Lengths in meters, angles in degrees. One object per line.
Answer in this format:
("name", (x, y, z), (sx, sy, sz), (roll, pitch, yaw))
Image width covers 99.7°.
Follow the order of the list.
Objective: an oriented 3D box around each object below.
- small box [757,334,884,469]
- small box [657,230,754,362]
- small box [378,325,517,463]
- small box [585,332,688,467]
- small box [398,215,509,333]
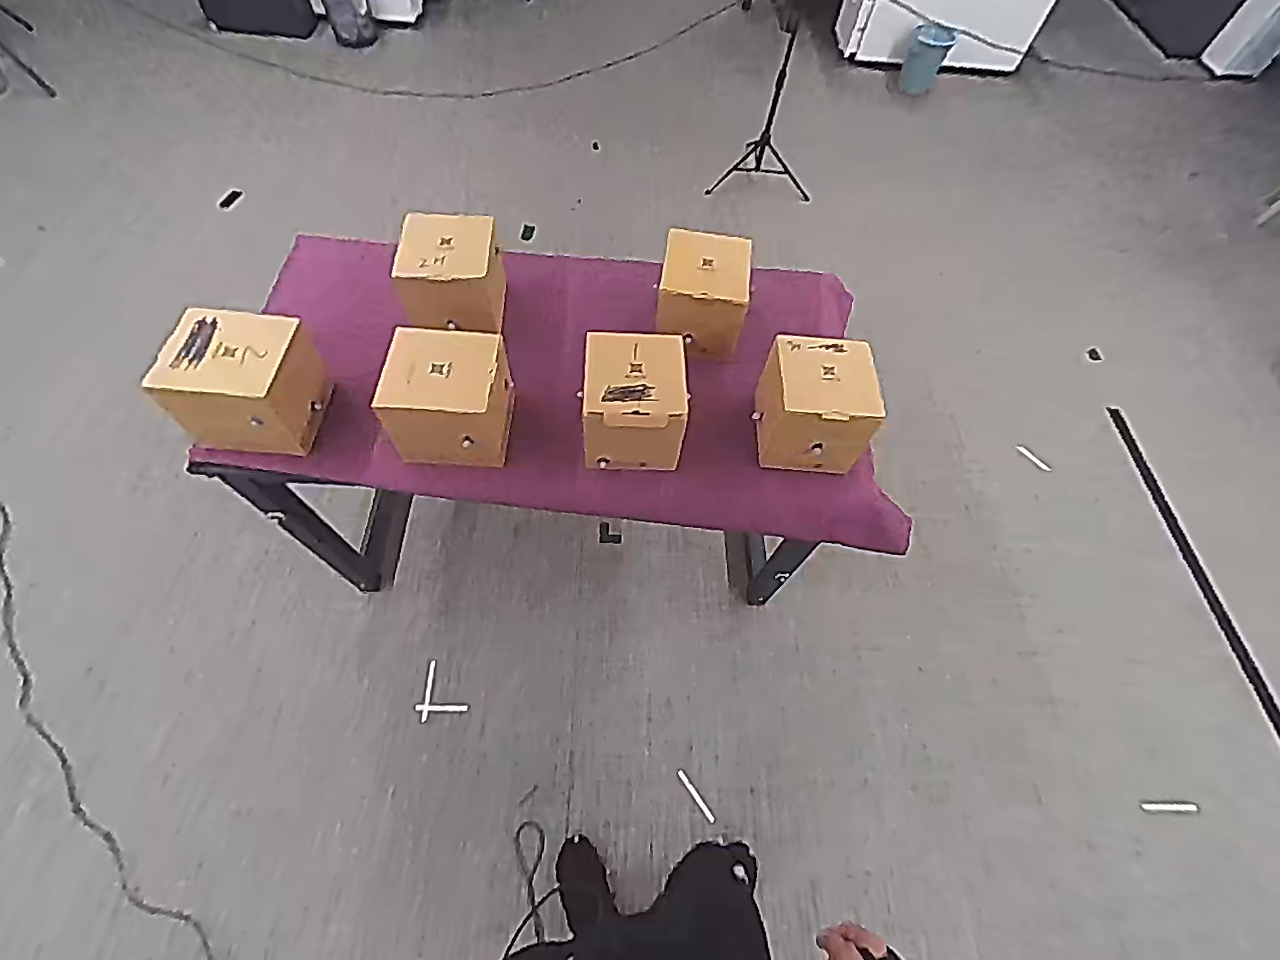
("small box", (0.313, -0.135, 0.976), (0.168, 0.176, 0.179), (5, 59, -1))
("small box", (0.128, -0.371, 1.100), (0.168, 0.176, 0.179), (8, 62, 1))
("small box", (-0.316, -0.142, 0.934), (0.179, 0.176, 0.168), (3, 60, -3))
("small box", (-0.008, -0.137, 0.955), (0.168, 0.176, 0.179), (2, 60, -3))
("small box", (-0.358, -0.395, 1.076), (0.168, 0.176, 0.179), (0, 61, -4))
